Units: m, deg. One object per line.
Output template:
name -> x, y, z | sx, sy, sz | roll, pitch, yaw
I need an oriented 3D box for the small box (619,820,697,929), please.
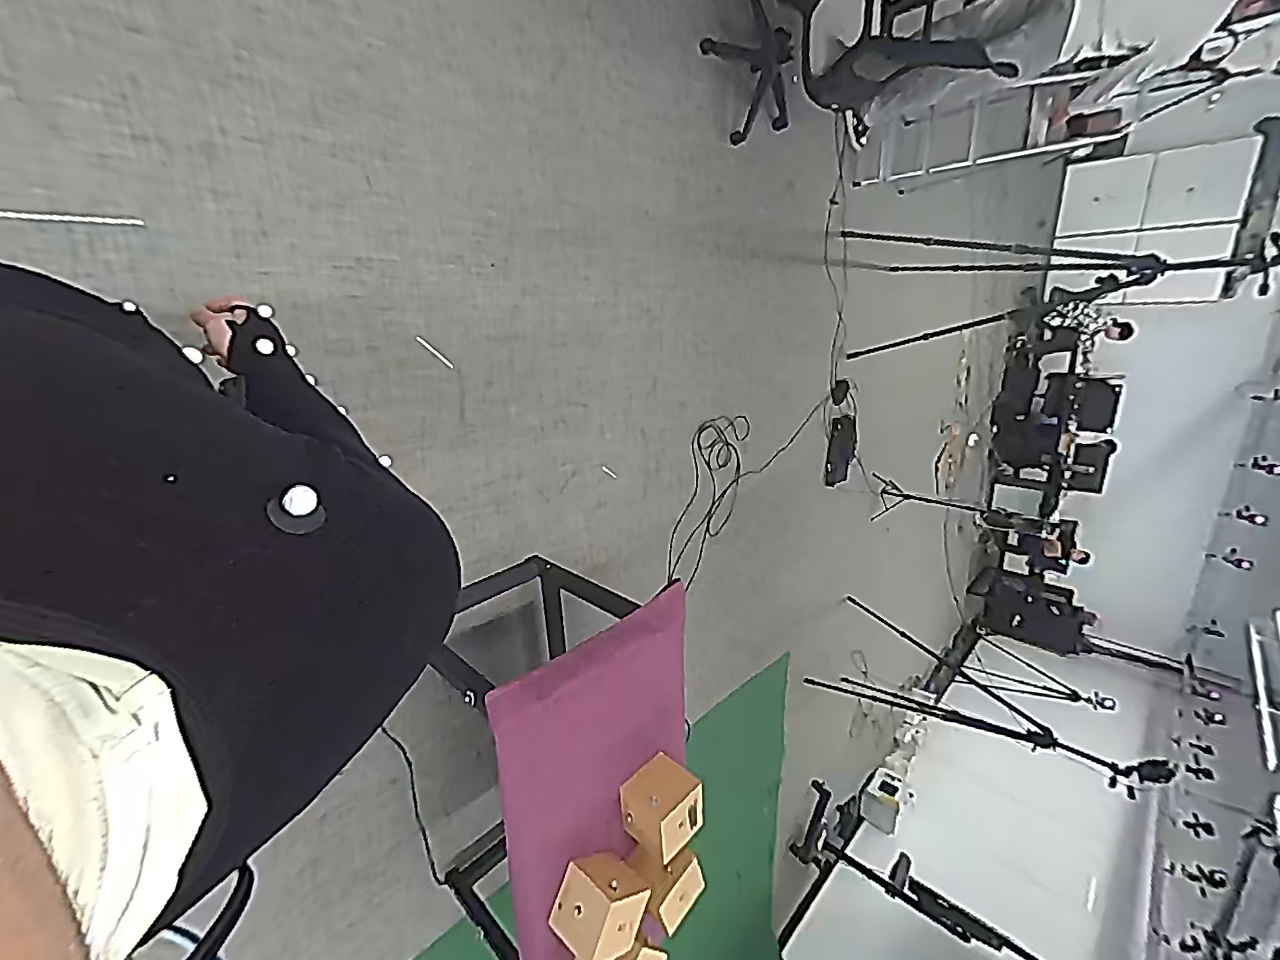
small box -> 0.047, 1.214, 1.674 | 0.179, 0.176, 0.168 | -35, 124, -35

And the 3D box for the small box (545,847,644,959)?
small box -> -0.127, 1.135, 1.460 | 0.179, 0.176, 0.168 | 30, 79, -48

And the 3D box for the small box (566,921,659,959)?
small box -> -0.081, 1.387, 1.582 | 0.168, 0.176, 0.179 | -53, 132, -24
